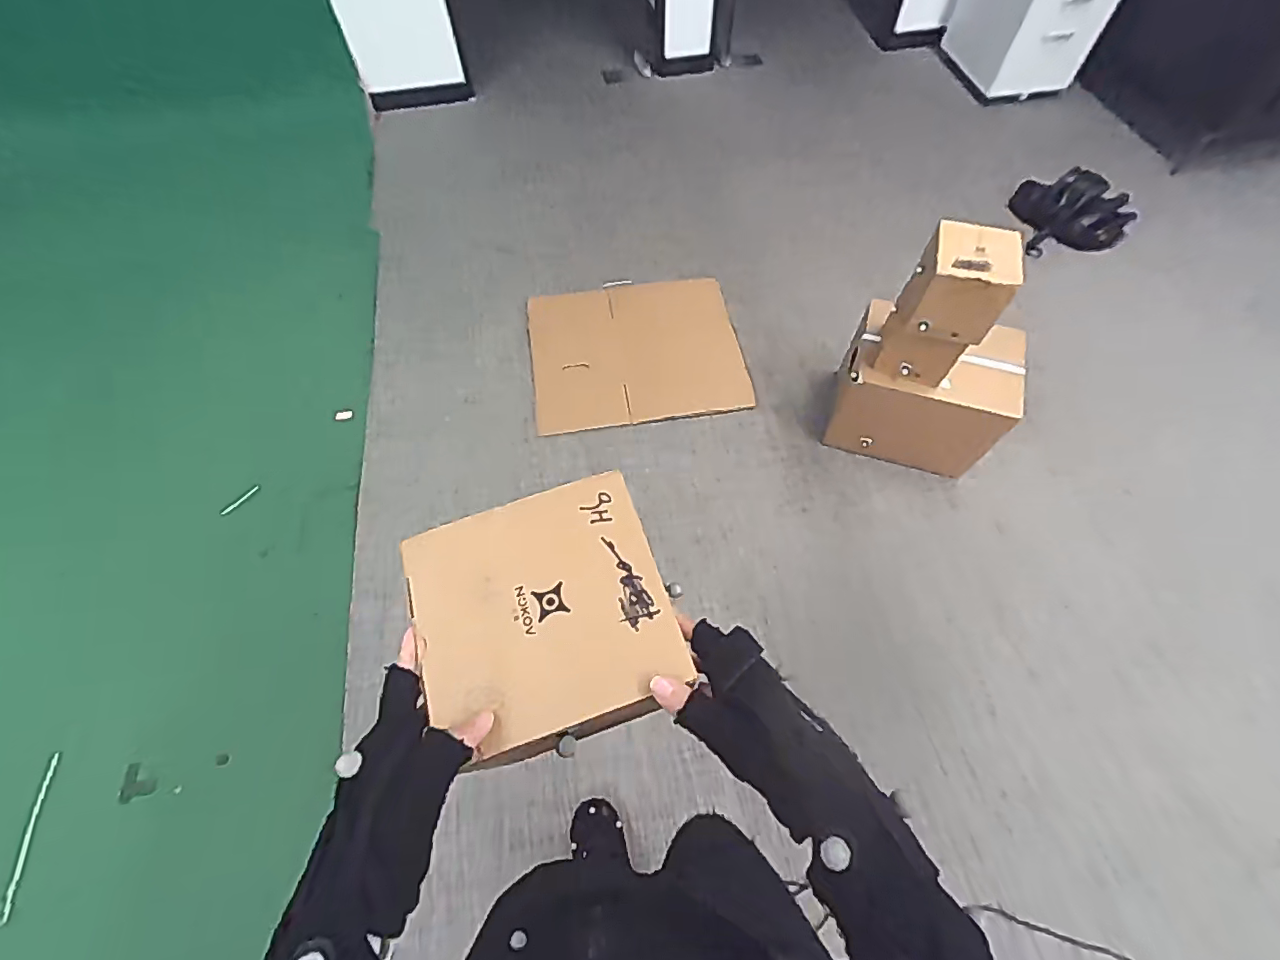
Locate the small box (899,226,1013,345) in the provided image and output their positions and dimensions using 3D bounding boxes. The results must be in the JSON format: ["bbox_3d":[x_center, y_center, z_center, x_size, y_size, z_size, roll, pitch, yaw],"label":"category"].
[{"bbox_3d":[0.690,-0.425,1.197,0.168,0.176,0.179,12,63,9],"label":"small box"}]

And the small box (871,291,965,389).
[{"bbox_3d":[0.697,-0.359,1.348,0.168,0.176,0.179,18,65,12],"label":"small box"}]

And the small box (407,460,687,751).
[{"bbox_3d":[-0.069,0.116,0.463,0.179,0.176,0.168,-20,62,-8],"label":"small box"}]
